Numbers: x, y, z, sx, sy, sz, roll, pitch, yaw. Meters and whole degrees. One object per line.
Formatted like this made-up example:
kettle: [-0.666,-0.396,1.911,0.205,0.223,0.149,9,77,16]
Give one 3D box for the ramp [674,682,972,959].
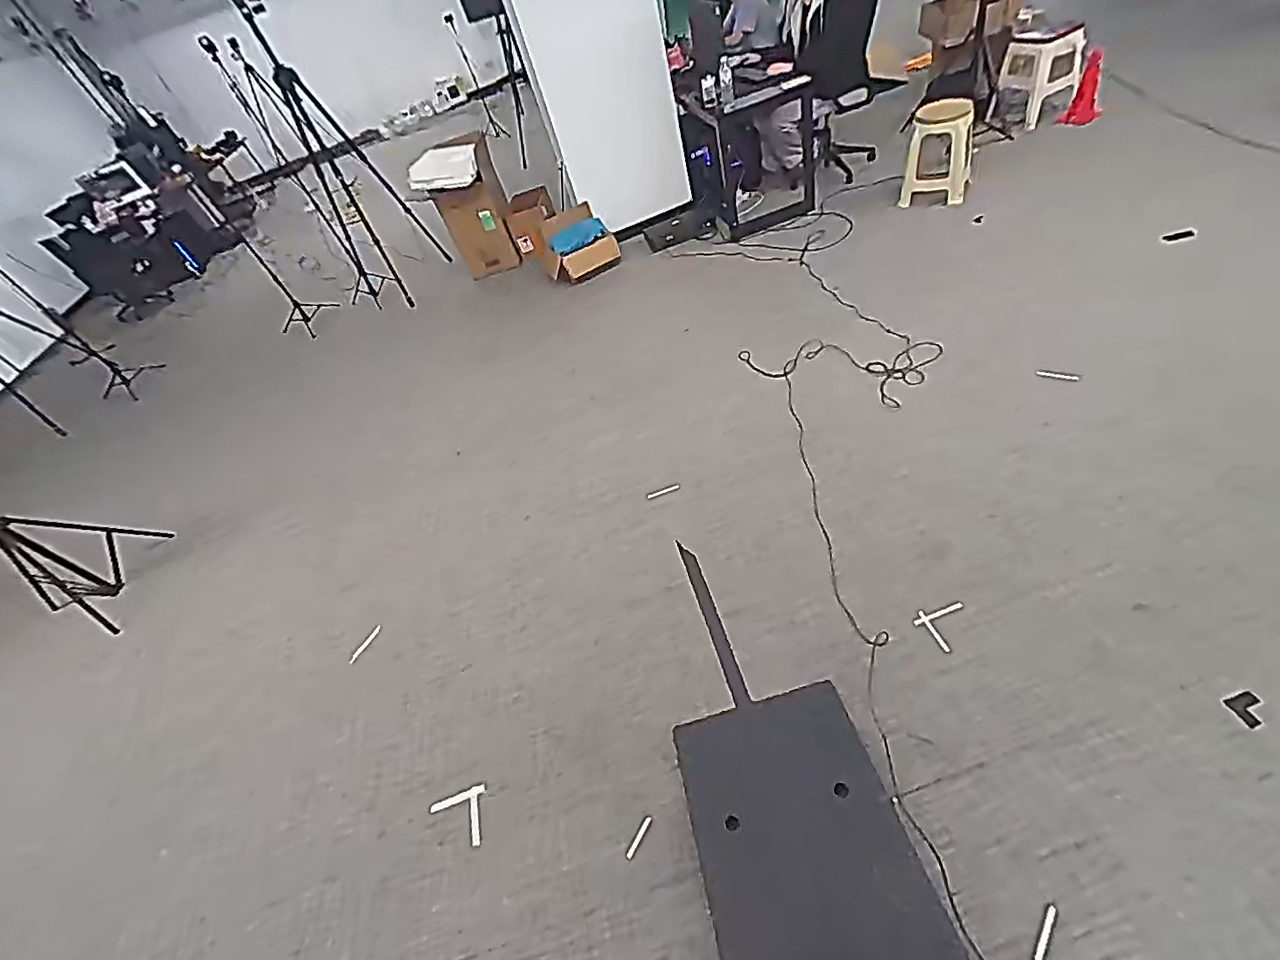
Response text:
ramp: [0.399,0.943,1.184,0.509,0.206,0.991,-21,44,2]
